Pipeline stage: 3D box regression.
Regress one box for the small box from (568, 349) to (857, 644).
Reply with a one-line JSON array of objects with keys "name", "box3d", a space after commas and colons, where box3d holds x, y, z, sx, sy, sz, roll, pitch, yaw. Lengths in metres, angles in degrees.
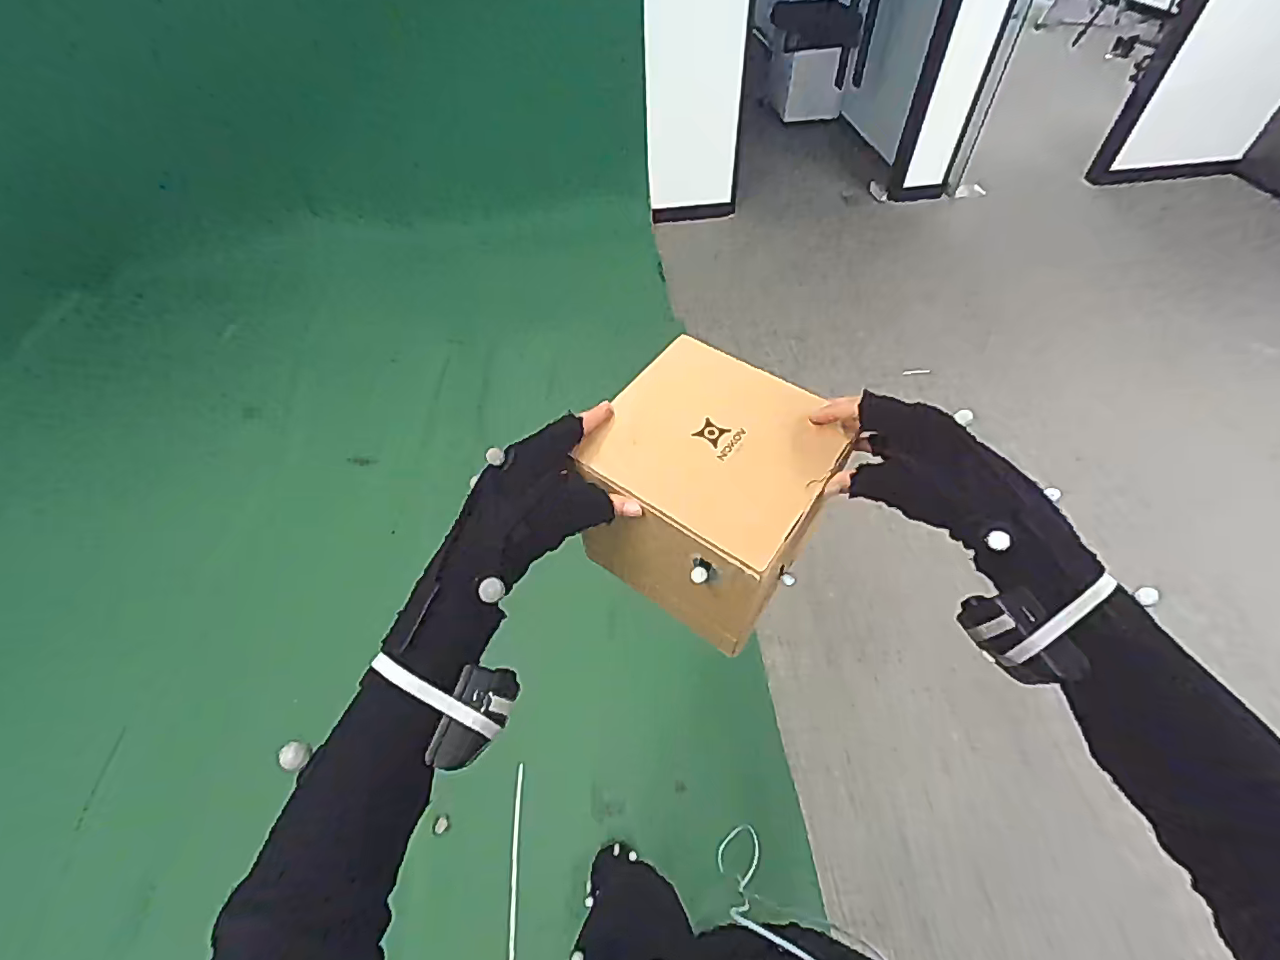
[{"name": "small box", "box3d": [0.058, 0.019, 0.491, 0.179, 0.176, 0.168, 32, 61, 20]}]
